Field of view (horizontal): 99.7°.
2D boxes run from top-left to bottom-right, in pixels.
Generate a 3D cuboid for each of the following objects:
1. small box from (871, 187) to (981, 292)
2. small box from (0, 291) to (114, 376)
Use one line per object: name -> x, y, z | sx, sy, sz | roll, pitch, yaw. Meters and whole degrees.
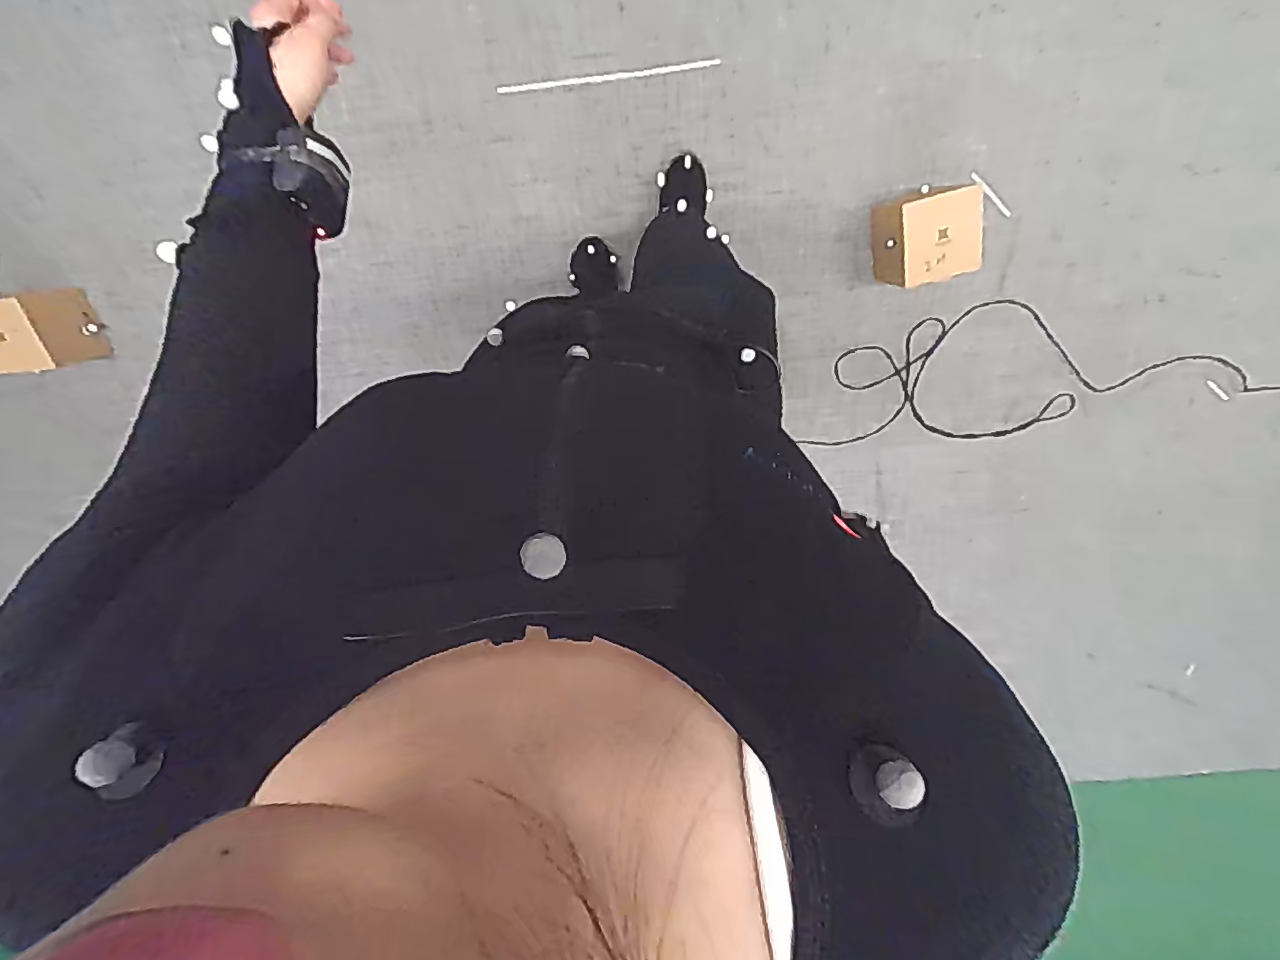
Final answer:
small box -> 0.635, -0.541, 1.218 | 0.168, 0.176, 0.179 | -13, 116, 6
small box -> -1.464, -0.357, 1.313 | 0.179, 0.176, 0.168 | -5, 117, 1
